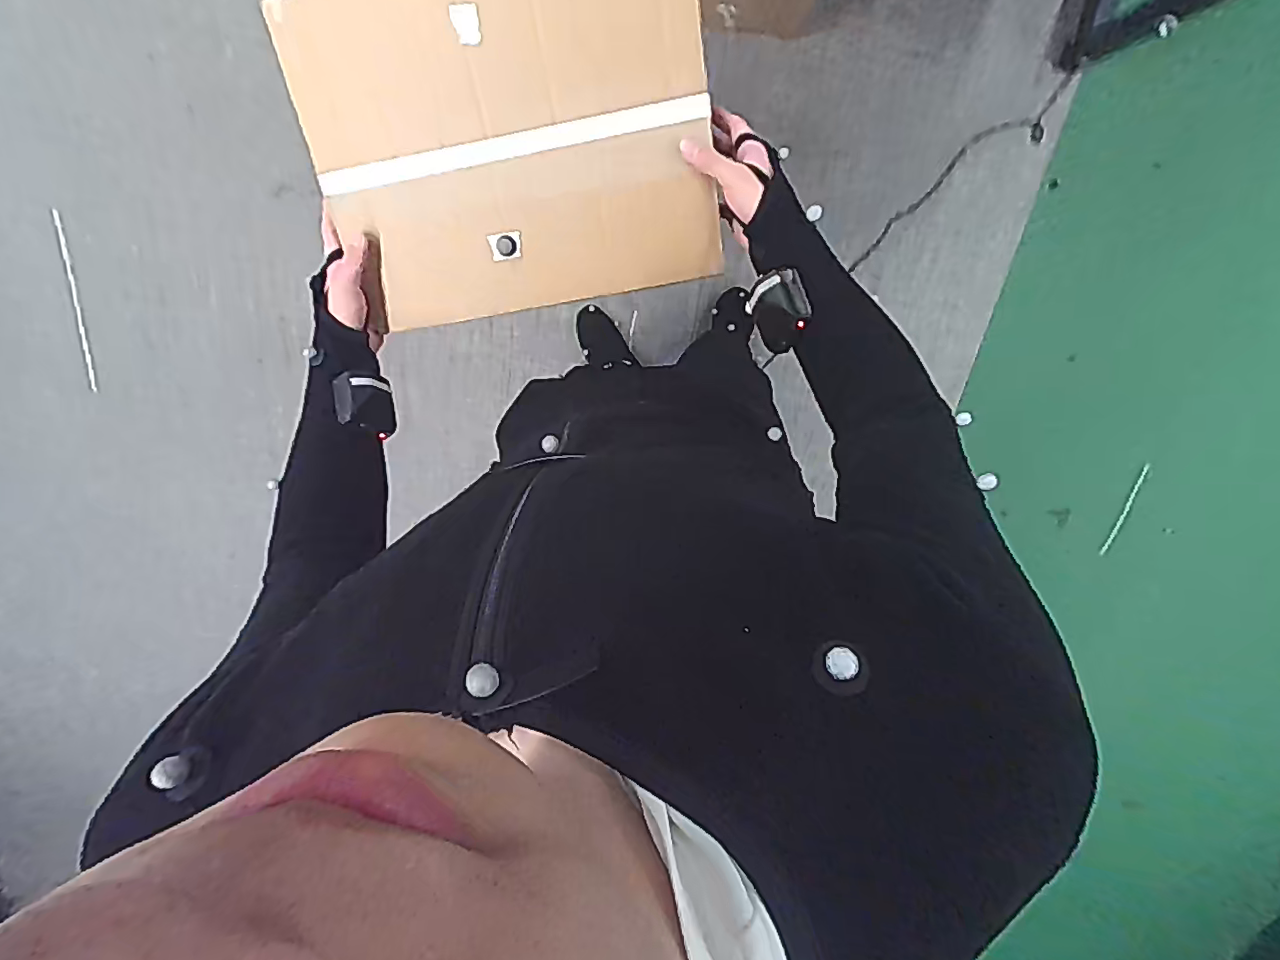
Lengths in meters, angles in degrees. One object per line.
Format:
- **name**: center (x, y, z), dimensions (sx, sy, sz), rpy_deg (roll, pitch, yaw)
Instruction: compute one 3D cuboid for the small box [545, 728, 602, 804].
- **small box**: center (-0.228, 0.993, 1.887), dimensions (0.179, 0.176, 0.168), rpy_deg (4, 109, -2)
